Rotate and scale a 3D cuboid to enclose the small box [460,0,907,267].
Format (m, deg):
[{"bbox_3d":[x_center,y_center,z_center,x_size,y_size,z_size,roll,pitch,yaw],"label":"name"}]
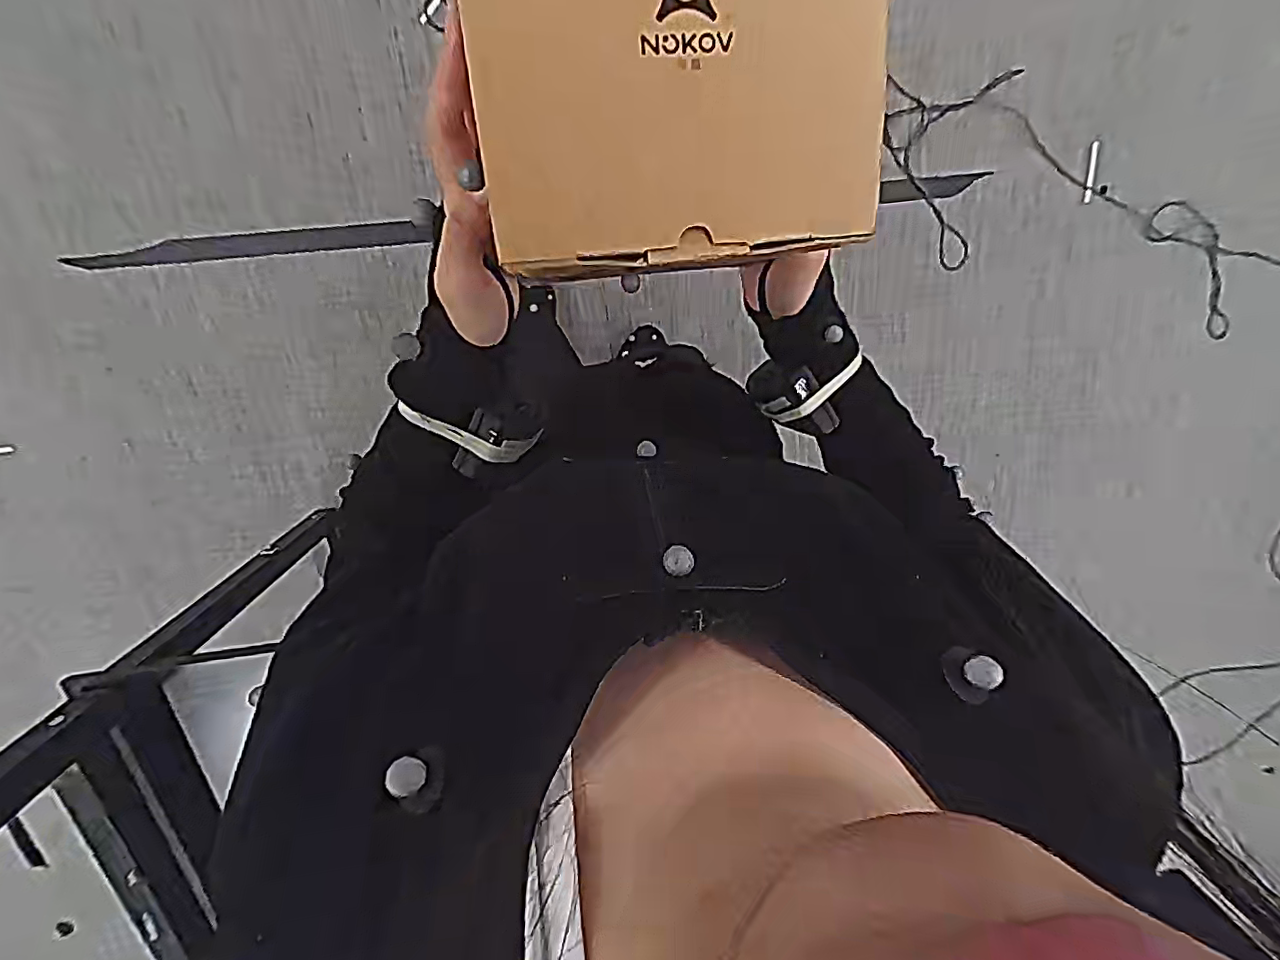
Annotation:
[{"bbox_3d":[0.004,-0.206,0.261,0.168,0.176,0.179,-8,110,-7],"label":"small box"}]
